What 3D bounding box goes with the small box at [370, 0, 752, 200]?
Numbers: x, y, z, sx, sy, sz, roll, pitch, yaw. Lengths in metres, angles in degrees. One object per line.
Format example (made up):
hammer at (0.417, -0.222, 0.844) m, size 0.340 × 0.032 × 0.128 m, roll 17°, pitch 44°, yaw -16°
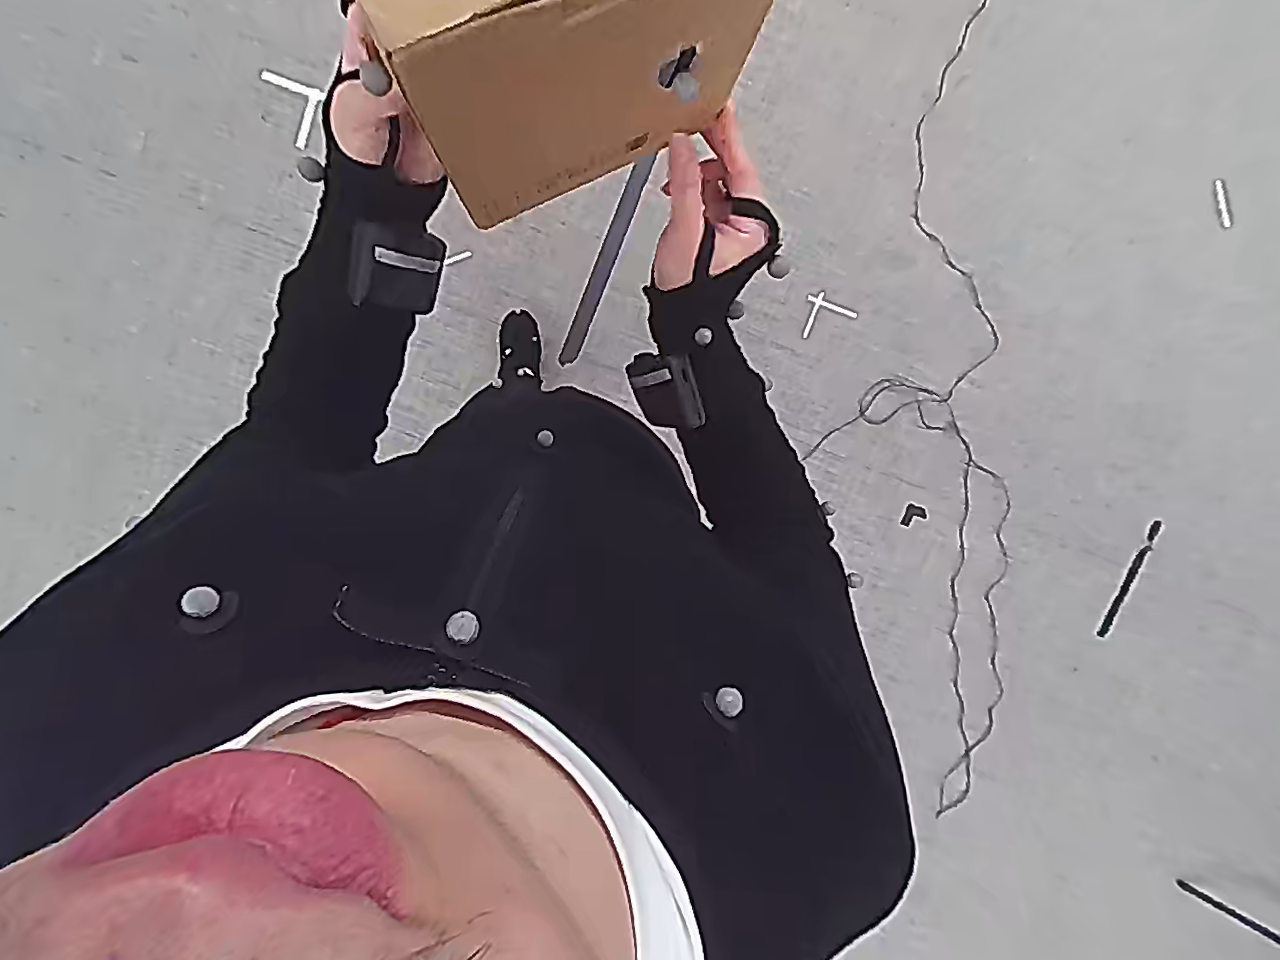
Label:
small box at (-0.051, -0.260, 0.251) m, size 0.168 × 0.176 × 0.179 m, roll -27°, pitch 99°, yaw -3°
